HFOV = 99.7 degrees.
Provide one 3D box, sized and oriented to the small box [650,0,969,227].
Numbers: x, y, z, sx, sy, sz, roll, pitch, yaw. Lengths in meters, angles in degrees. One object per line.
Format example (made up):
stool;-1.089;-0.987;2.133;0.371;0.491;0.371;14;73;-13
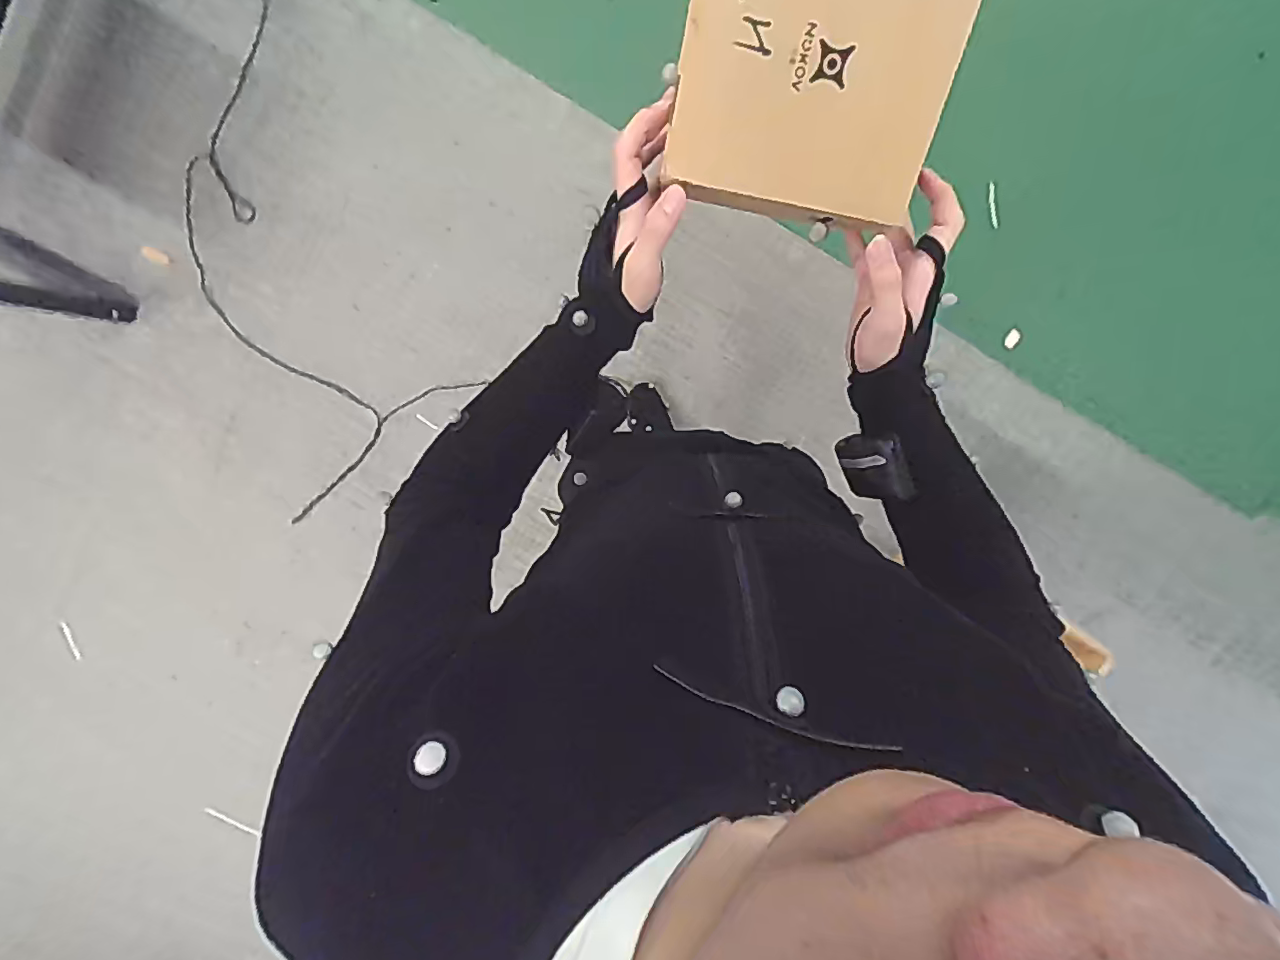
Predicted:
small box;0.110;-0.301;0.416;0.179;0.176;0.168;11;115;-2
